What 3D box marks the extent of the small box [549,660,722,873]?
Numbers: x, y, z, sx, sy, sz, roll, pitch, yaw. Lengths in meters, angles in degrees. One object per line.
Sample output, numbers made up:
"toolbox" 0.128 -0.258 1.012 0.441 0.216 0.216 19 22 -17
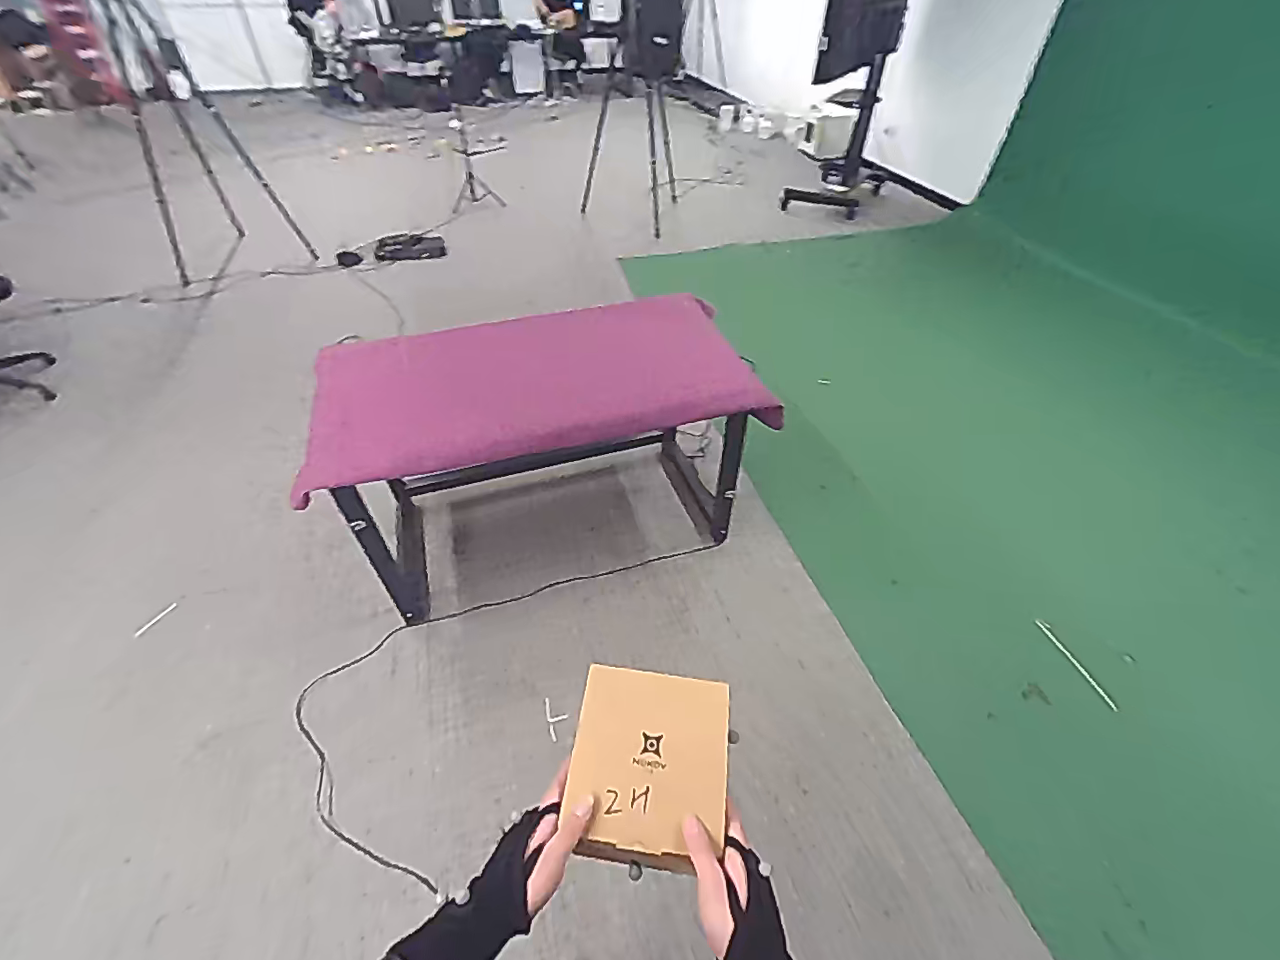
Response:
"small box" 0.001 0.338 0.637 0.168 0.176 0.179 6 50 5
